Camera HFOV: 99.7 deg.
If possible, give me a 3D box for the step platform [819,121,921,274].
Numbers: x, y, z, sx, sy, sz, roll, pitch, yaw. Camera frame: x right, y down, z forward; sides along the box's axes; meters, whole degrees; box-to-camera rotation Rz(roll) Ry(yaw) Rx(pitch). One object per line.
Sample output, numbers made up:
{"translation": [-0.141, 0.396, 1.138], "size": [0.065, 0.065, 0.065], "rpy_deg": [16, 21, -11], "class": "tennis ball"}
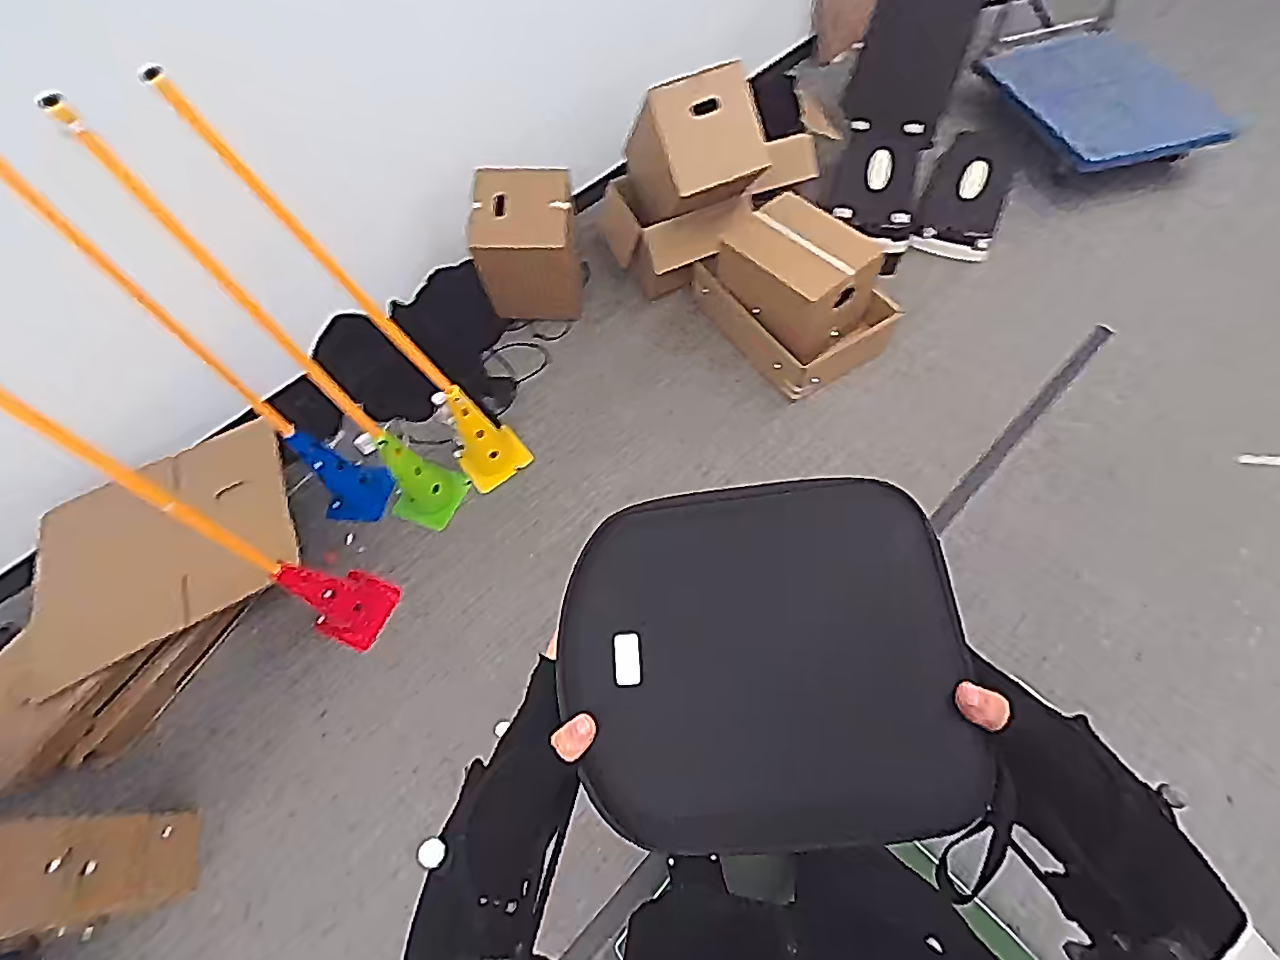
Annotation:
{"translation": [0.897, -1.109, 2.091], "size": [0.286, 0.204, 0.684], "rpy_deg": [13, 64, 13], "class": "step platform"}
